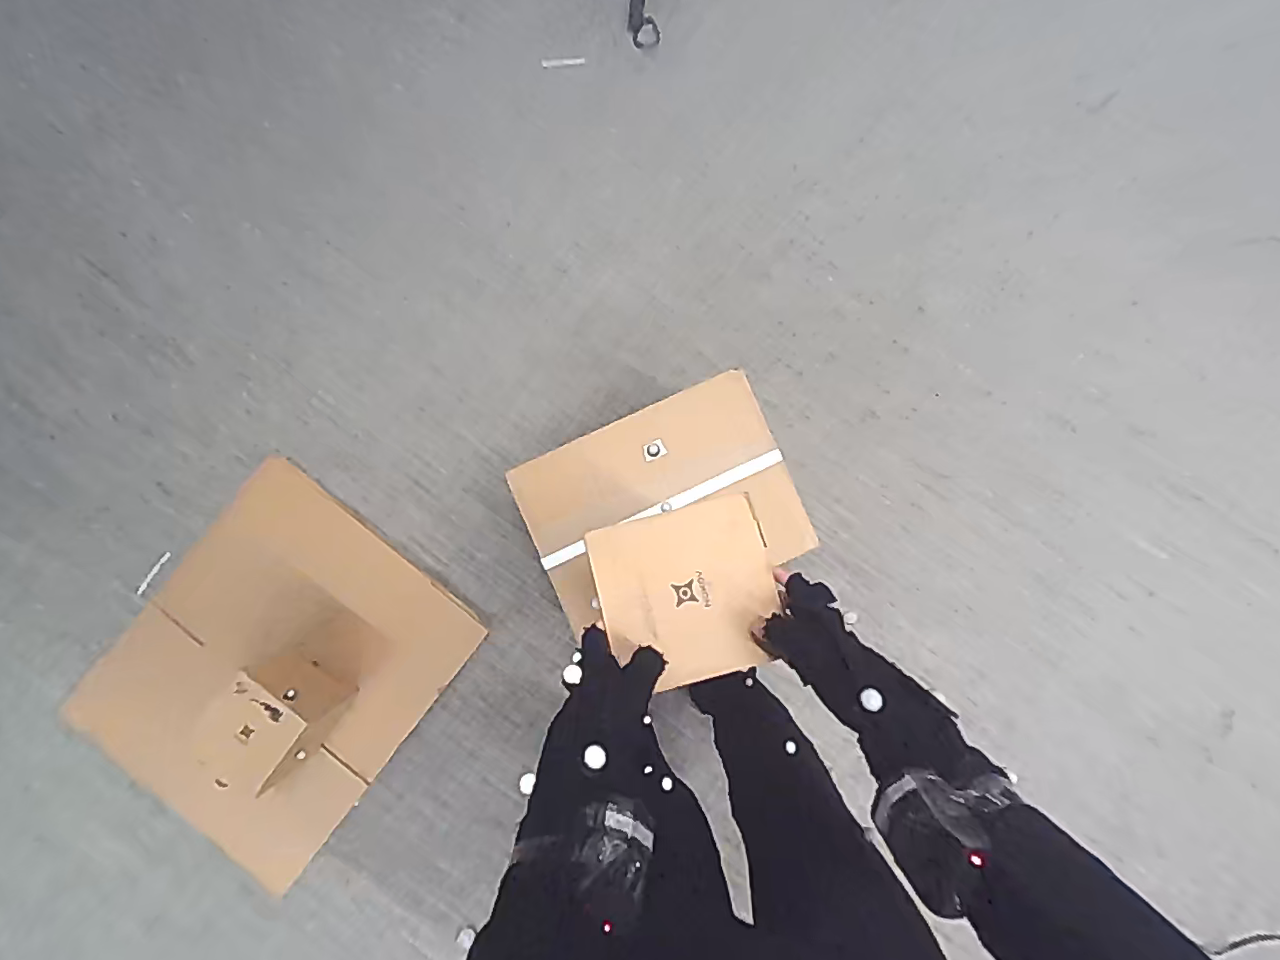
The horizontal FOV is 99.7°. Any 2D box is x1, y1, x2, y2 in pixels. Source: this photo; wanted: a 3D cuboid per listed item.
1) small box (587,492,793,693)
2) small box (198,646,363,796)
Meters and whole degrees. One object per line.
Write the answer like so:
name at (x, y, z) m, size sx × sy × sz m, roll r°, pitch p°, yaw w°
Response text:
small box at (0.049, 0.124, 0.620) m, size 0.179 × 0.176 × 0.168 m, roll -16°, pitch 78°, yaw -1°
small box at (-0.685, 0.455, 1.053) m, size 0.168 × 0.176 × 0.179 m, roll 33°, pitch 90°, yaw 5°
